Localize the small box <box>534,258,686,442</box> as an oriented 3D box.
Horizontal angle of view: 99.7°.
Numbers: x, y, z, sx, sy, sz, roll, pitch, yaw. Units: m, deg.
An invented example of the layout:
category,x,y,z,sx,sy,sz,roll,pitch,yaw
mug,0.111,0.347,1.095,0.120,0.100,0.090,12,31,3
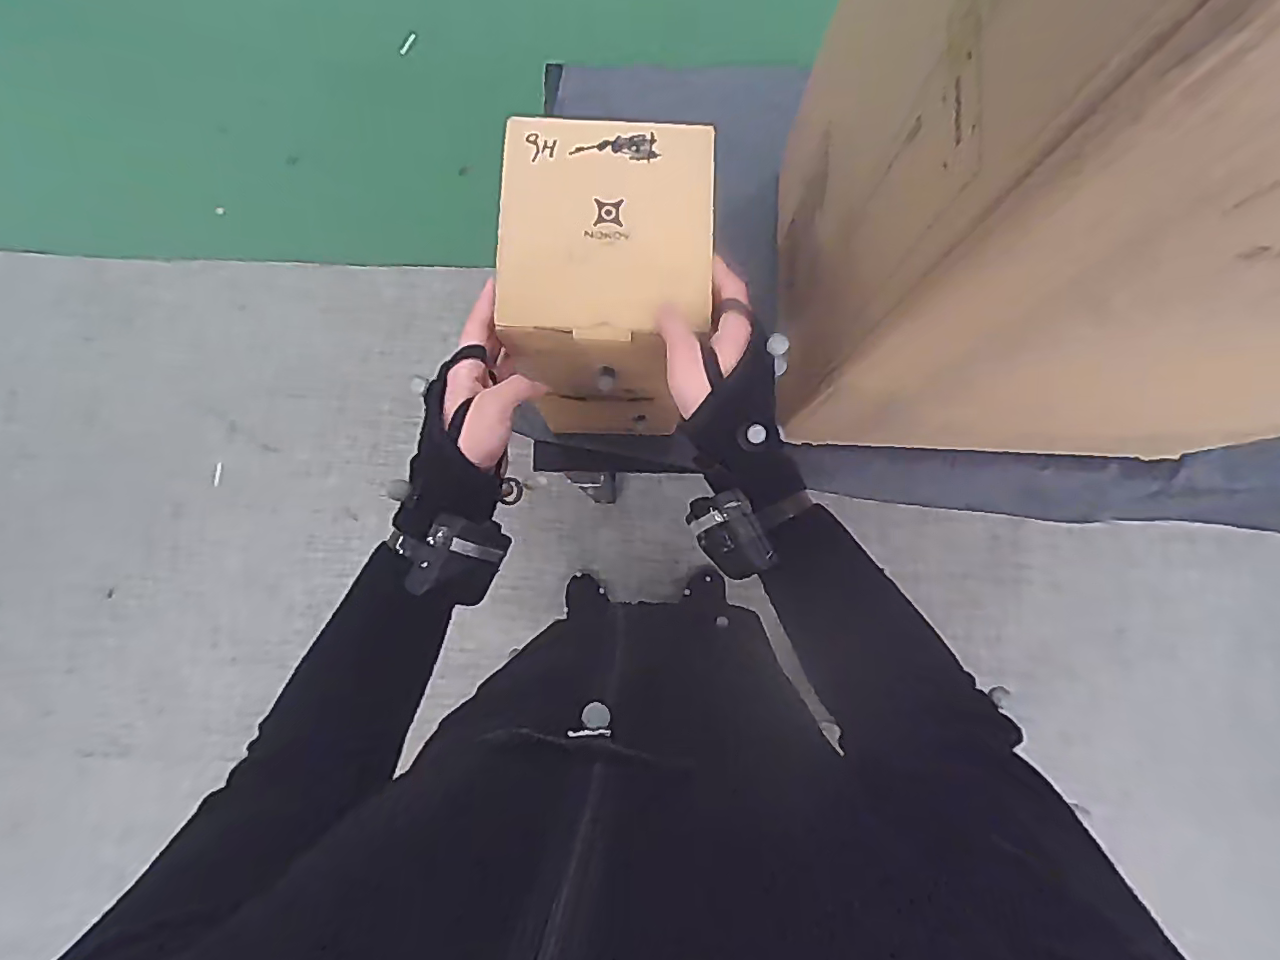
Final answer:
category,x,y,z,sx,sy,sz,roll,pitch,yaw
small box,-0.032,-0.148,0.670,0.168,0.176,0.179,1,80,-1
